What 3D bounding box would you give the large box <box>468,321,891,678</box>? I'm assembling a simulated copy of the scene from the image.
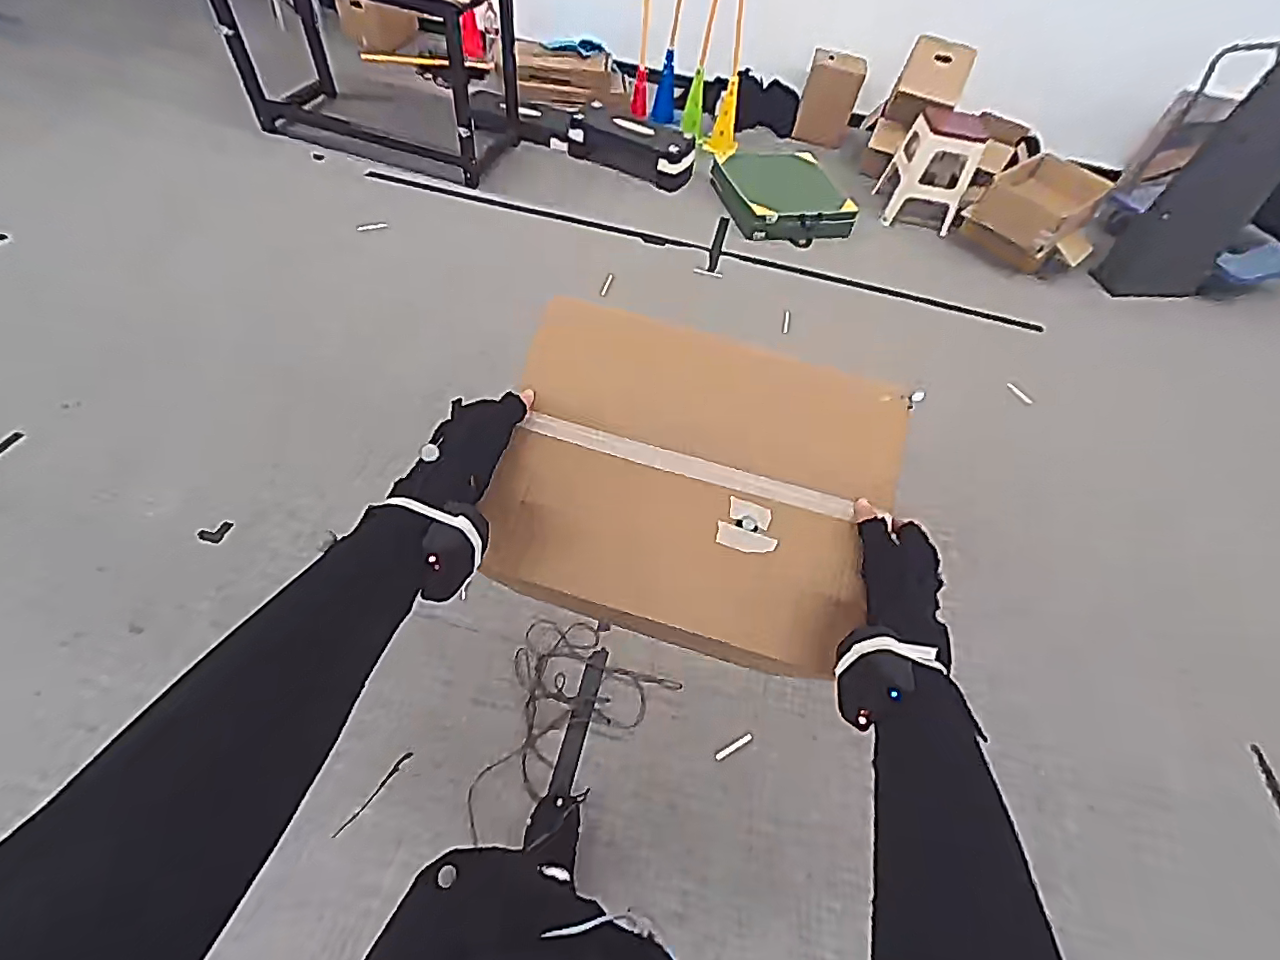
[{"bbox_3d":[0.048,0.048,0.718,0.408,0.320,0.320,17,73,3],"label":"large box"}]
